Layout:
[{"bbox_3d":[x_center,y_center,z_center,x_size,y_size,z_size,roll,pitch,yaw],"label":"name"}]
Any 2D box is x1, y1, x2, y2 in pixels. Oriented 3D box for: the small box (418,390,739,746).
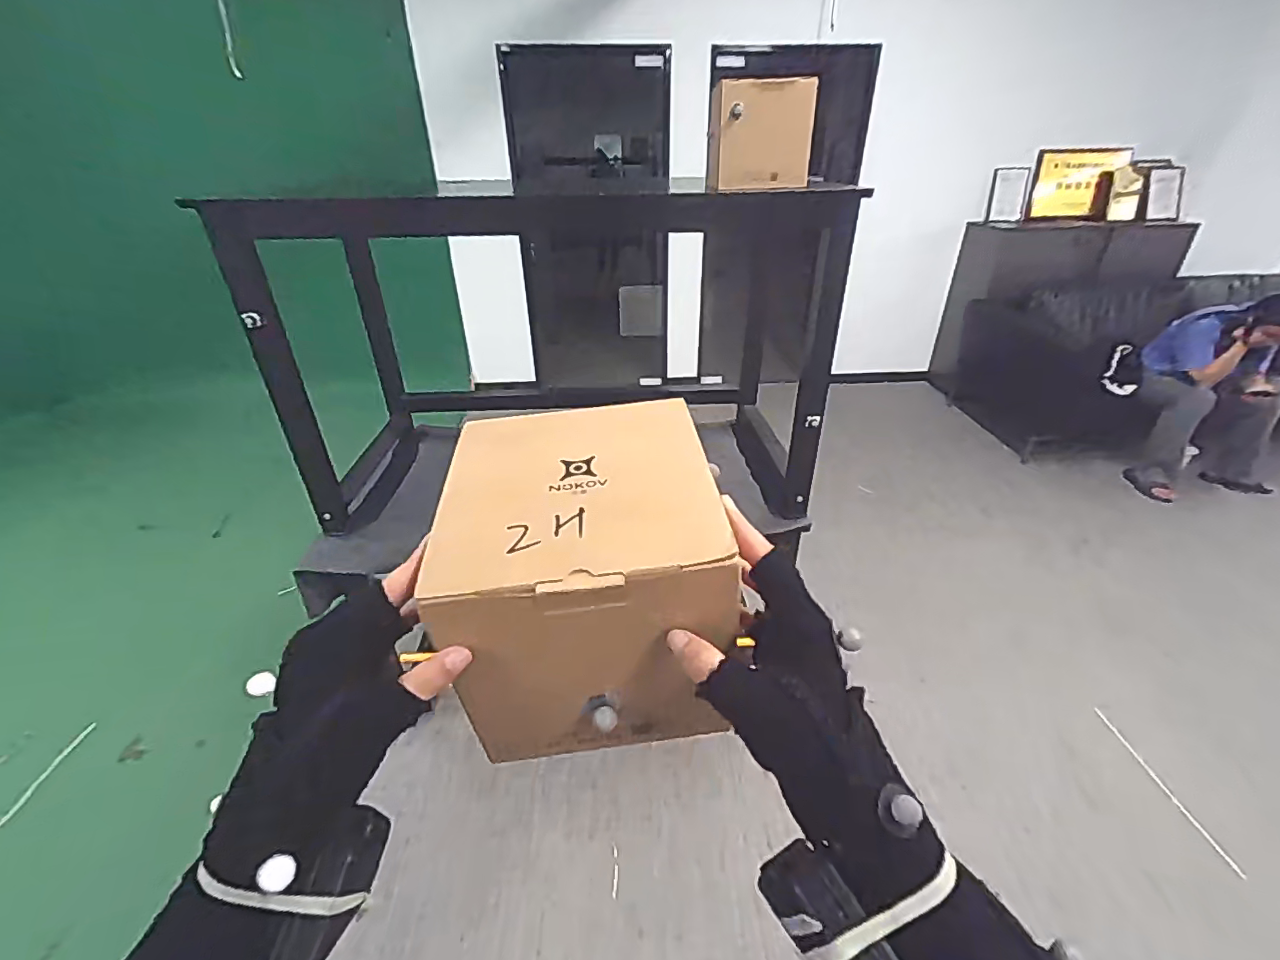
[{"bbox_3d":[-0.033,0.055,0.385,0.168,0.176,0.179,-7,37,-2],"label":"small box"}]
